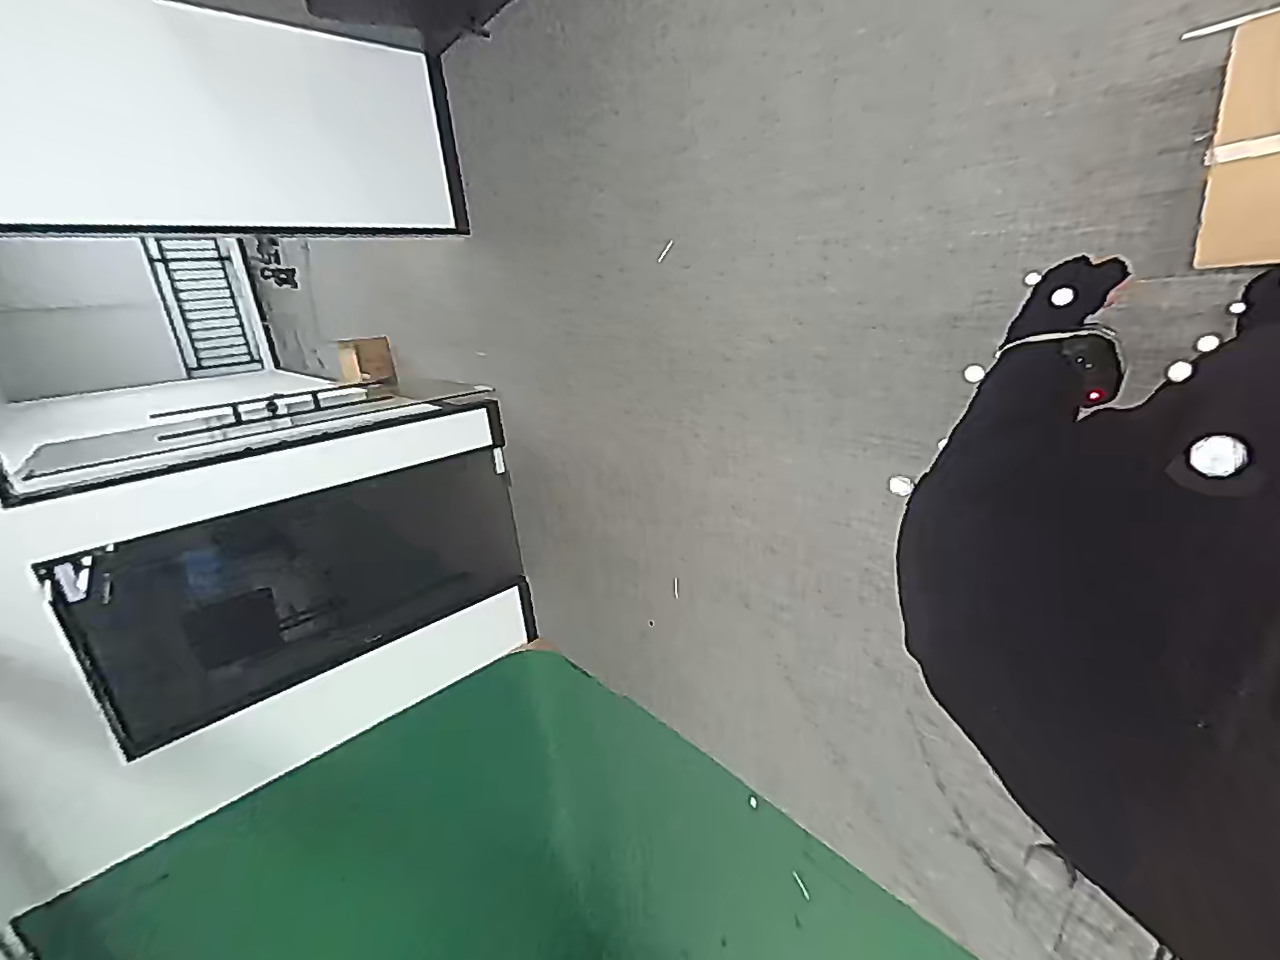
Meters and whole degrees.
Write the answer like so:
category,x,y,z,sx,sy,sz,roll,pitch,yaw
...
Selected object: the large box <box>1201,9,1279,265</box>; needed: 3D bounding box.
category,x,y,z,sx,sy,sz,roll,pitch,yaw
large box,1.063,-0.483,0.718,0.408,0.320,0.320,12,116,47
